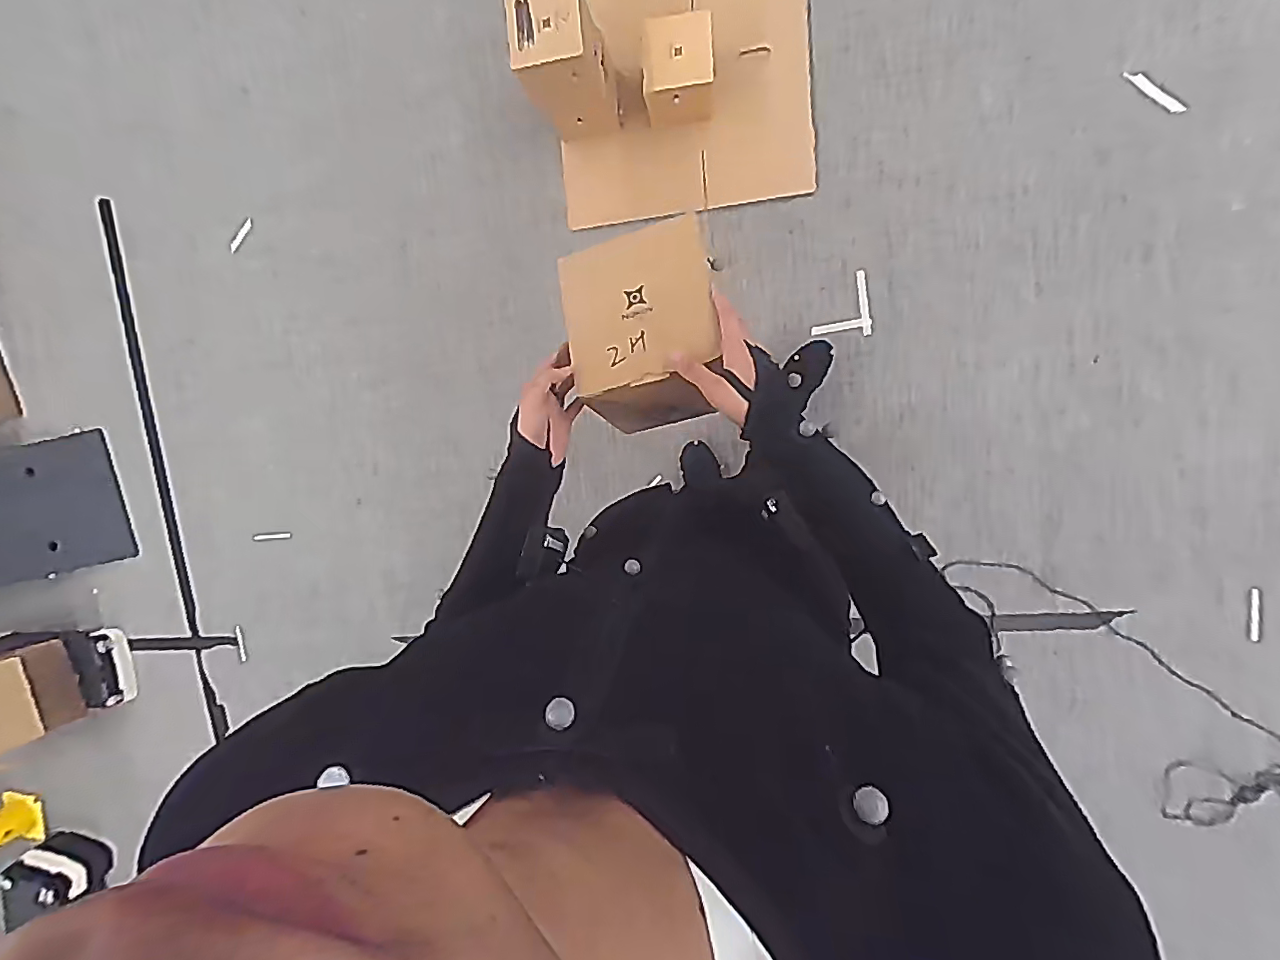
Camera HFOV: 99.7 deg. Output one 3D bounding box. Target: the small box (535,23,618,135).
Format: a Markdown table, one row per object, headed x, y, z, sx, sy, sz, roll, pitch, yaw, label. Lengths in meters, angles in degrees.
| x | y | z | sx | sy | sz | roll | pitch | yaw | label |
| --- | --- | --- | --- | --- | --- | --- | --- | --- | --- |
| -0.160 | -1.055 | 1.438 | 0.179 | 0.176 | 0.168 | -3 | 97 | 12 | small box |

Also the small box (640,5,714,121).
| x | y | z | sx | sy | sz | roll | pitch | yaw | label |
| --- | --- | --- | --- | --- | --- | --- | --- | --- | --- |
| 0.101 | -1.062 | 1.391 | 0.179 | 0.176 | 0.168 | -2 | 98 | 11 | small box |

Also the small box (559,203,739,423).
| x | y | z | sx | sy | sz | roll | pitch | yaw | label |
| --- | --- | --- | --- | --- | --- | --- | --- | --- | --- |
| 0.018 | -0.187 | 0.657 | 0.168 | 0.176 | 0.179 | -13 | 78 | 15 | small box |
